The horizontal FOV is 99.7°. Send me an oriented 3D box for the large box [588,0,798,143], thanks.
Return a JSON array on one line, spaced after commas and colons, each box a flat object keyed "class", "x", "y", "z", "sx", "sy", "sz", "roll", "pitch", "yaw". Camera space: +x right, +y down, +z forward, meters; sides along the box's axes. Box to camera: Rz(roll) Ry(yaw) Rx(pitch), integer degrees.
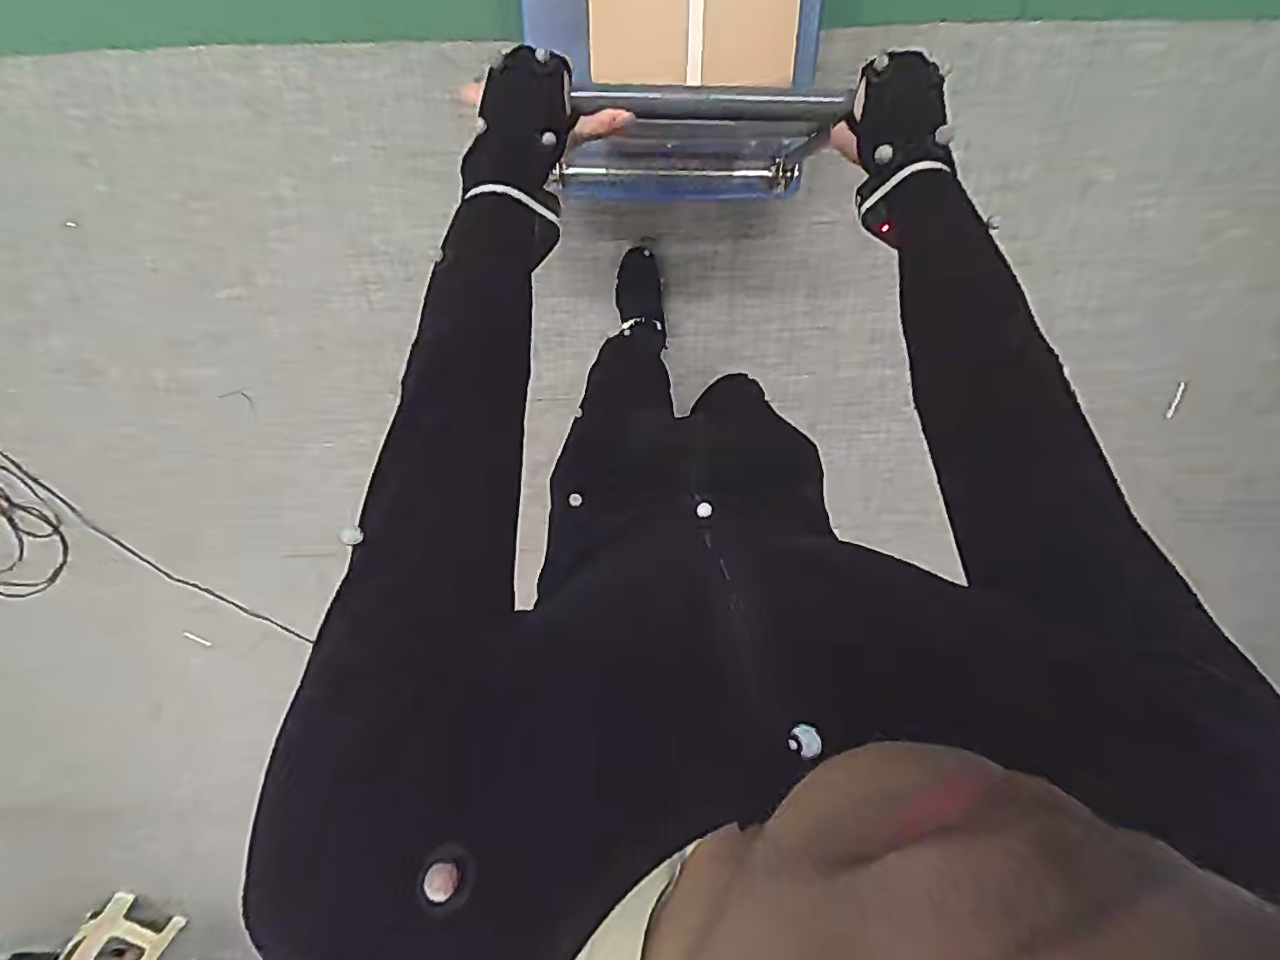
[{"class": "large box", "x": 0.080, "y": -0.821, "z": 0.906, "sx": 0.320, "sy": 0.320, "sz": 0.408, "roll": 0, "pitch": 114, "yaw": -1}]
